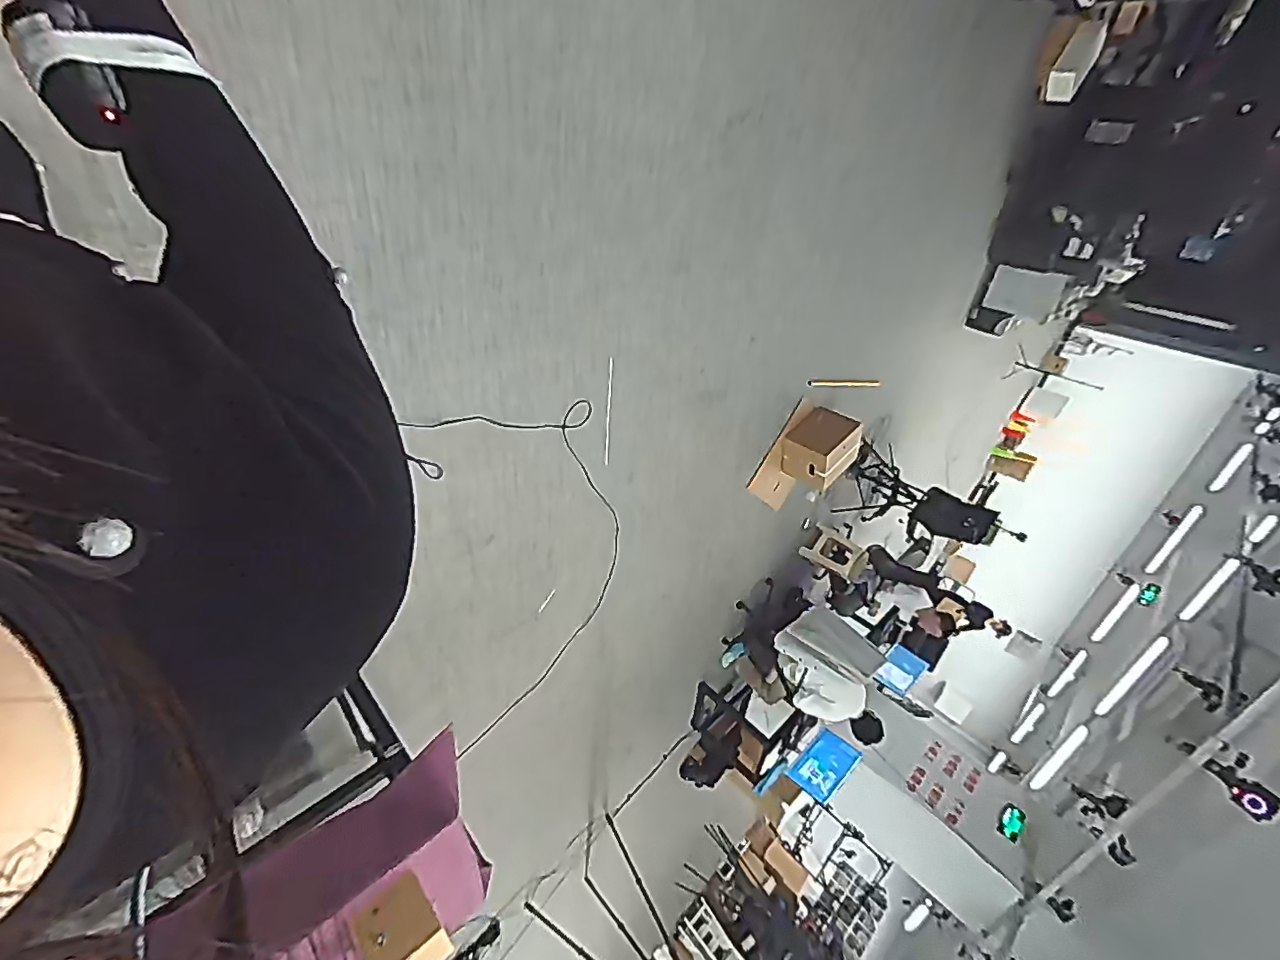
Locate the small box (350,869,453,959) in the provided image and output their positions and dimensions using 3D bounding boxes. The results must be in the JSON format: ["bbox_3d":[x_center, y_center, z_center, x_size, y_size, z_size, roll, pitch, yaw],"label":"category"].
[{"bbox_3d":[-0.592,1.120,1.345,0.168,0.176,0.179,-28,136,-34],"label":"small box"}]
